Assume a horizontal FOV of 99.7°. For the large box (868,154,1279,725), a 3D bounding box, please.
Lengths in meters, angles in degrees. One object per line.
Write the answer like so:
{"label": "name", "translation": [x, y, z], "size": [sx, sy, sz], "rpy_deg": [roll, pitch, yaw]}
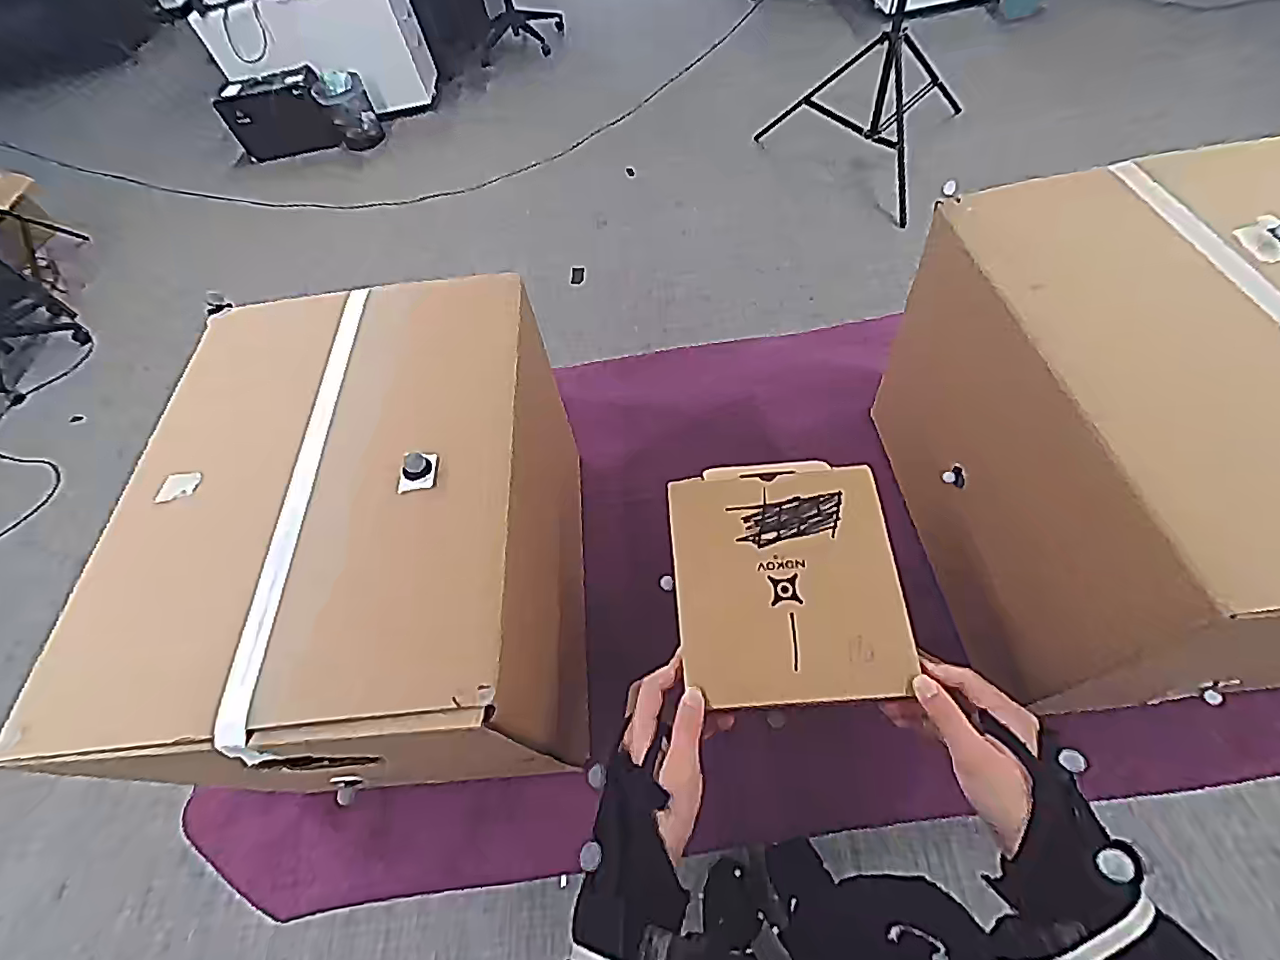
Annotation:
{"label": "large box", "translation": [0.457, -0.027, 0.510], "size": [0.320, 0.320, 0.408], "rpy_deg": [-8, 55, 4]}
